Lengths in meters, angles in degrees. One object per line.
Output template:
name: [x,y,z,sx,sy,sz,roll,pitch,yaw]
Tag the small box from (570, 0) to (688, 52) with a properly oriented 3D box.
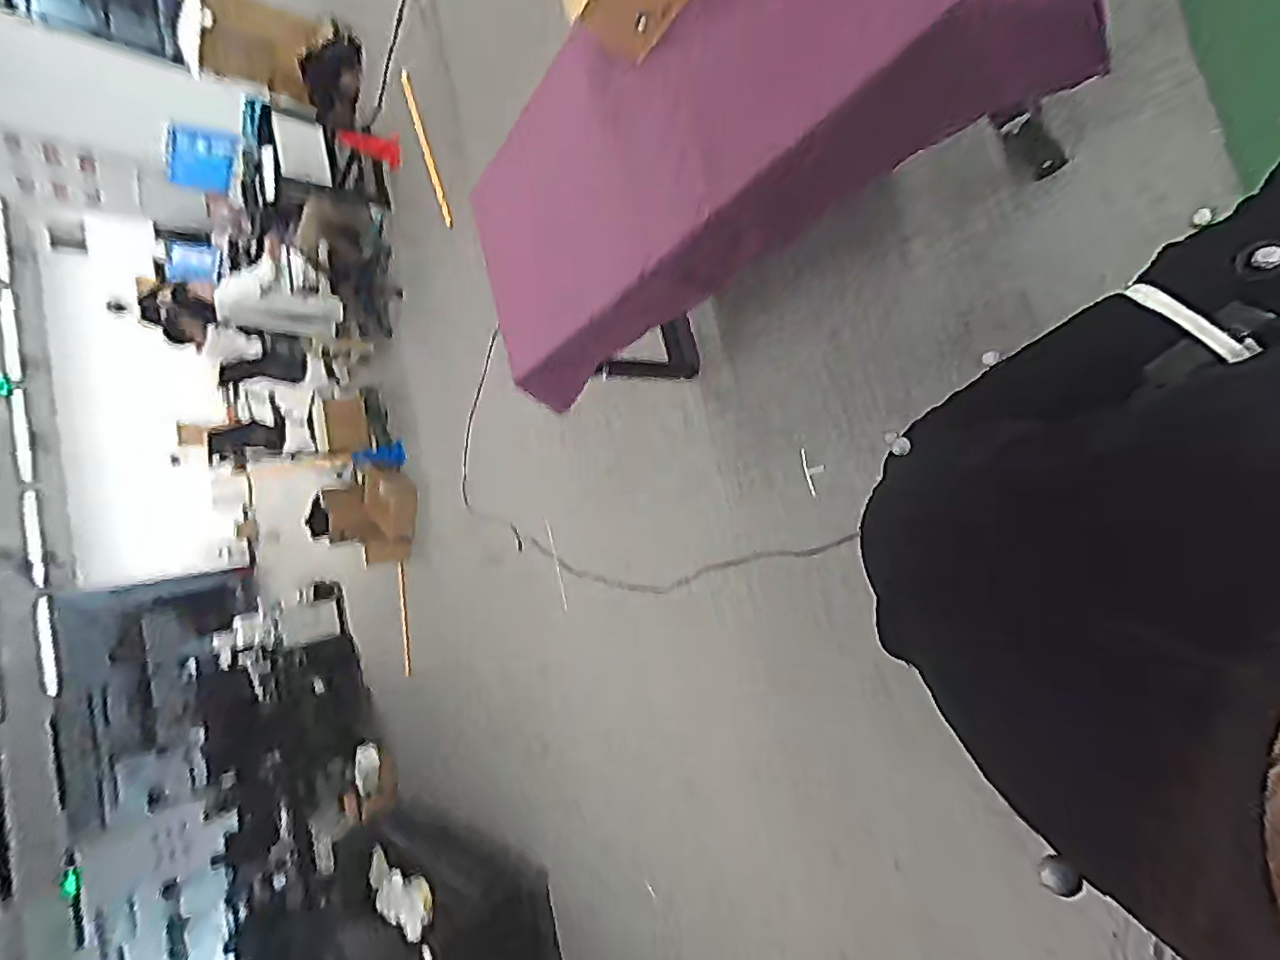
small box: [-0.025,-0.934,0.971,0.168,0.176,0.179,-22,81,47]
